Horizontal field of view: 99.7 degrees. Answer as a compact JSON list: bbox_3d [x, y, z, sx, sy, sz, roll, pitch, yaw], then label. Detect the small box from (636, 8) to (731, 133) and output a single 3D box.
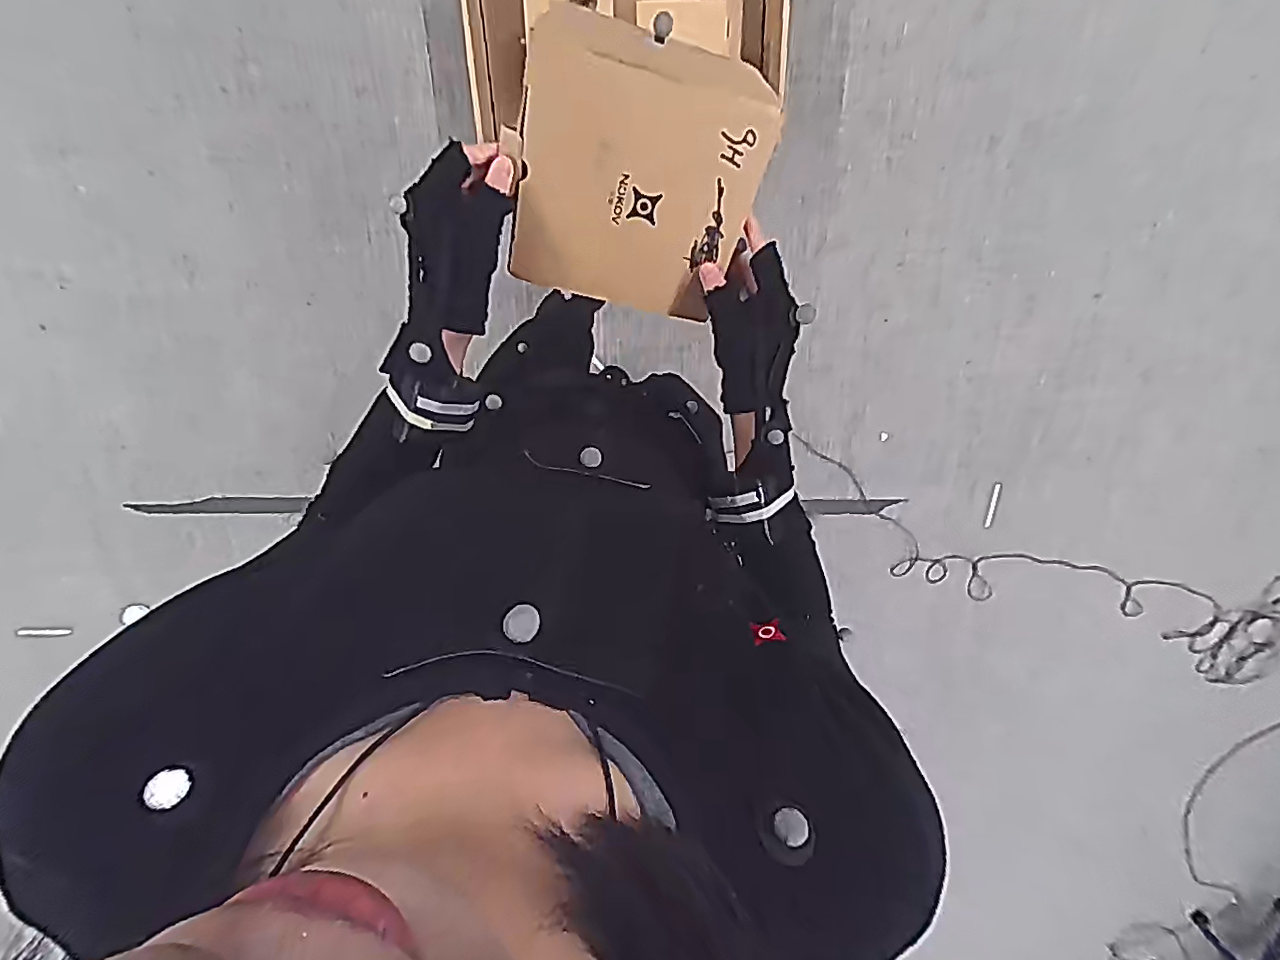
[{"bbox_3d":[0.081,-0.827,1.107,0.179,0.176,0.168,-1,110,-1],"label":"small box"}]
